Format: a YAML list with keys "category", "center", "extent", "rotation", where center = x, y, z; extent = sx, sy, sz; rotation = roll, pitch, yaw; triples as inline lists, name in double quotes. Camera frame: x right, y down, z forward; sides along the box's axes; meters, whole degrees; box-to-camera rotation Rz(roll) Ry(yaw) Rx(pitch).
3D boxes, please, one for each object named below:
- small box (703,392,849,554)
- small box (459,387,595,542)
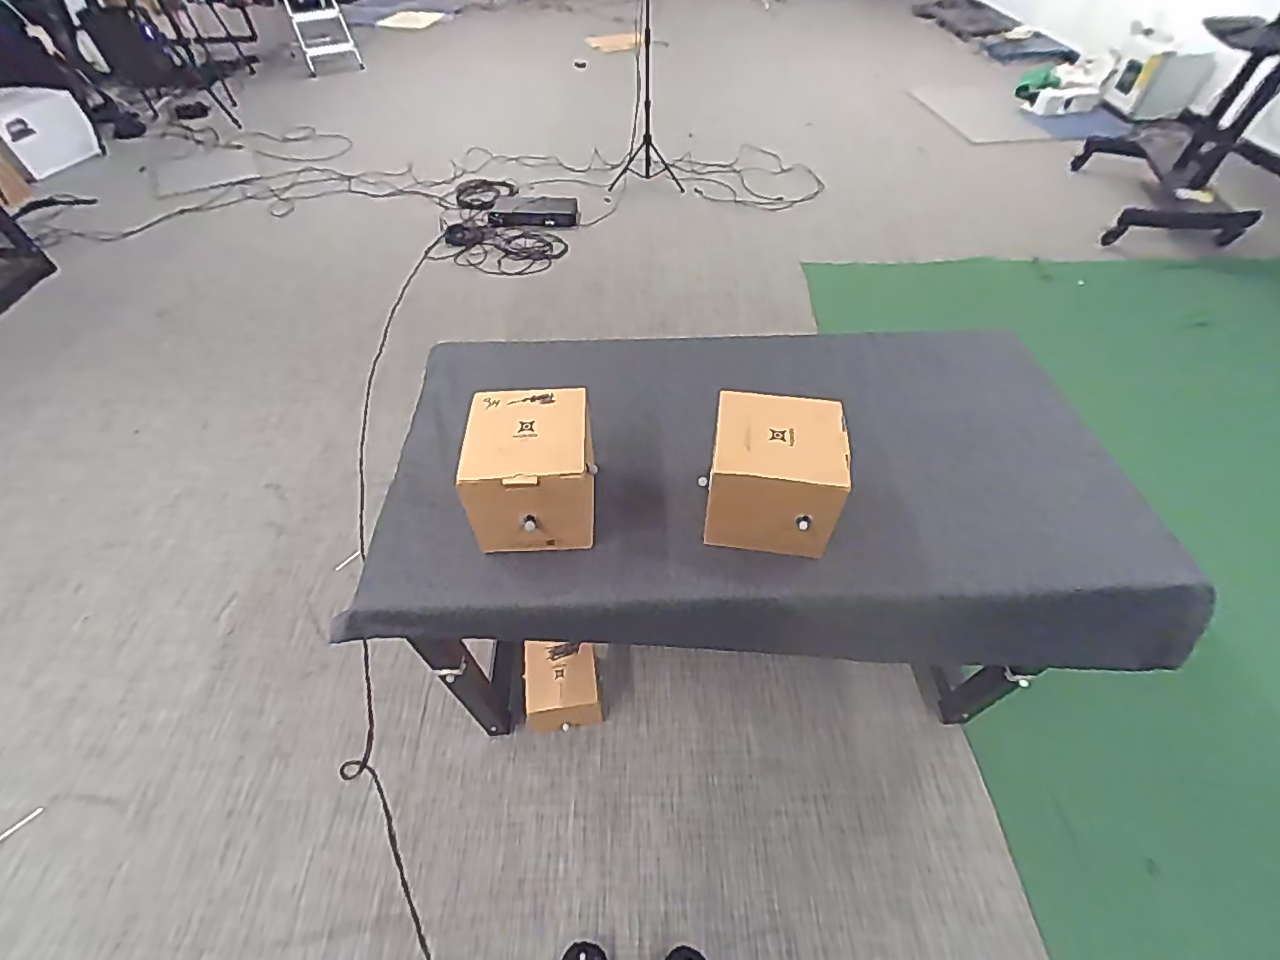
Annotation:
- category: "small box"
  center: [0.192, -0.007, 0.802]
  extent: [0.179, 0.176, 0.168]
  rotation: [6, 49, 6]
- category: "small box"
  center: [-0.155, -0.017, 0.806]
  extent: [0.168, 0.176, 0.179]
  rotation: [-2, 50, -2]
